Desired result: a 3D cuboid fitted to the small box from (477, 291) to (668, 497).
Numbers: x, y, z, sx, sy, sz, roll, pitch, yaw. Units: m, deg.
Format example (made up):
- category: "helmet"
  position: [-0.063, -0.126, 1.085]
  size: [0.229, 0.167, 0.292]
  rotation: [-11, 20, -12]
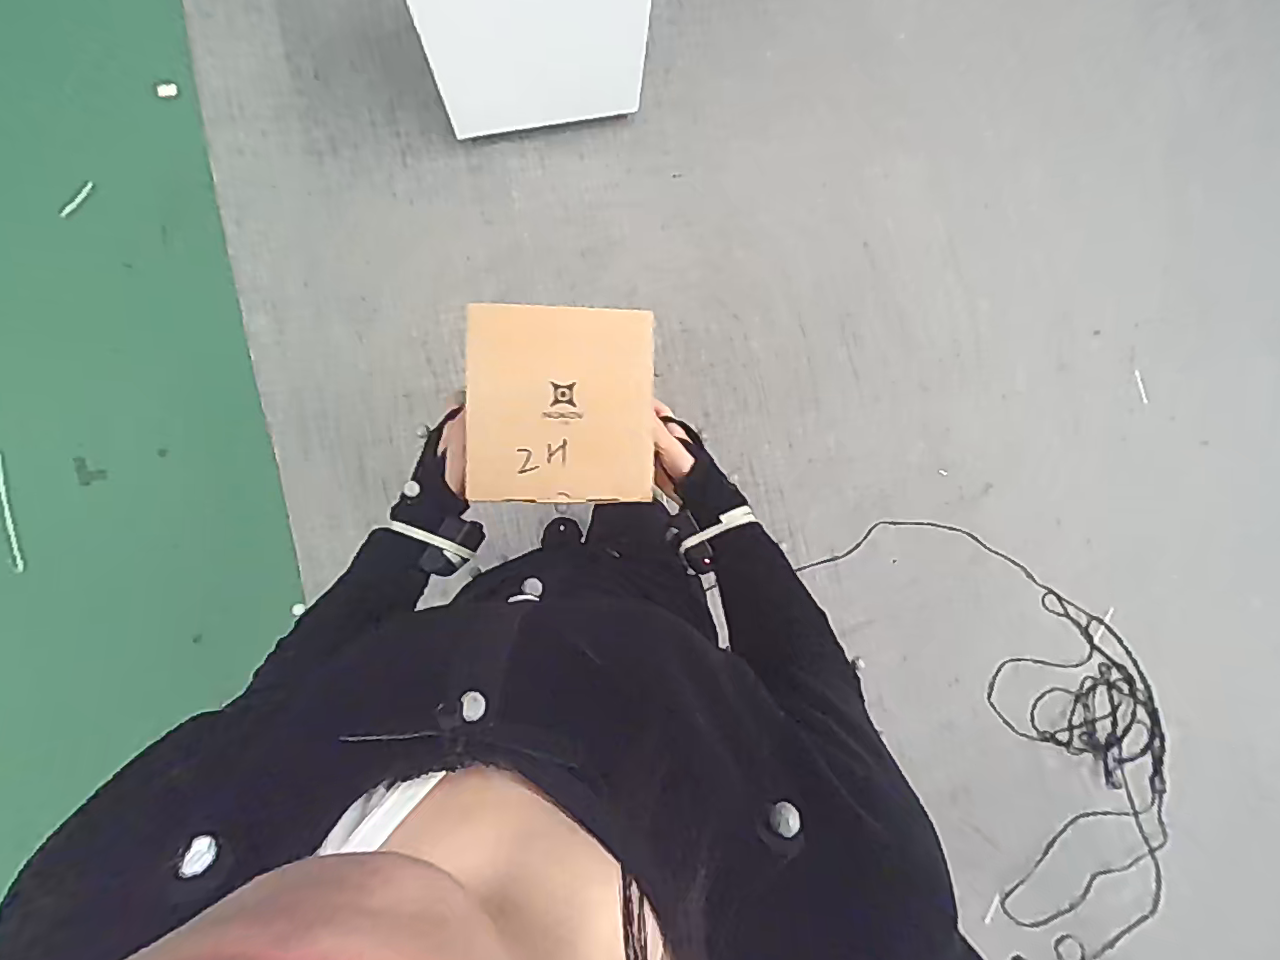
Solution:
- category: "small box"
  position: [-0.068, -0.072, 0.553]
  size: [0.168, 0.176, 0.179]
  rotation: [1, 89, -8]
